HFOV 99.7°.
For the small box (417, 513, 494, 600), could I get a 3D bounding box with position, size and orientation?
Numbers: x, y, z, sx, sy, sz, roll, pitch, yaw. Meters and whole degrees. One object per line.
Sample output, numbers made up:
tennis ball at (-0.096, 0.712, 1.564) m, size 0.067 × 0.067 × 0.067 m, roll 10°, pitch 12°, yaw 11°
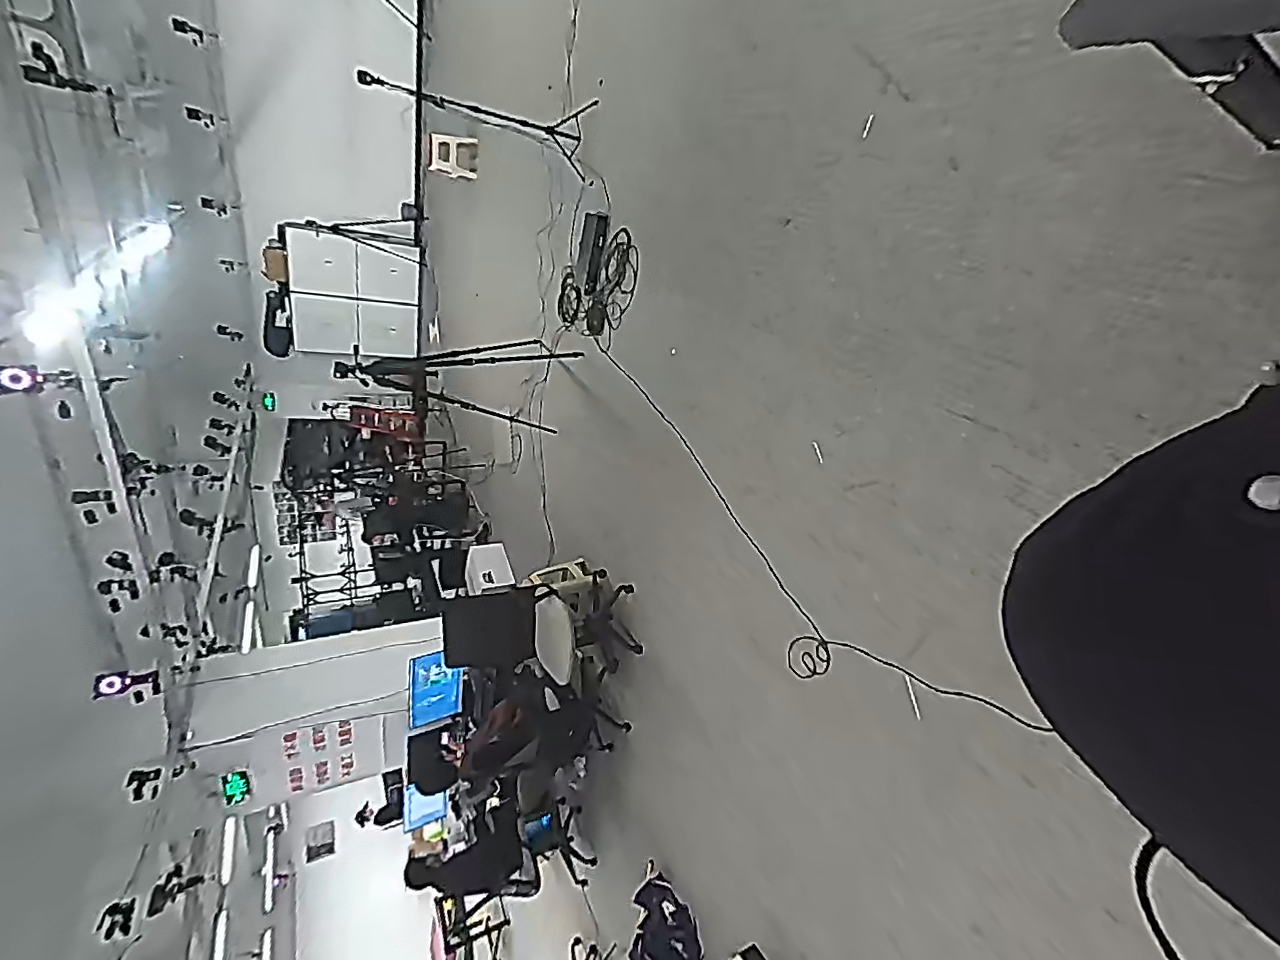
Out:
small box at (-0.547, 0.219, 1.606) m, size 0.168 × 0.176 × 0.179 m, roll -20°, pitch 148°, yaw -26°
